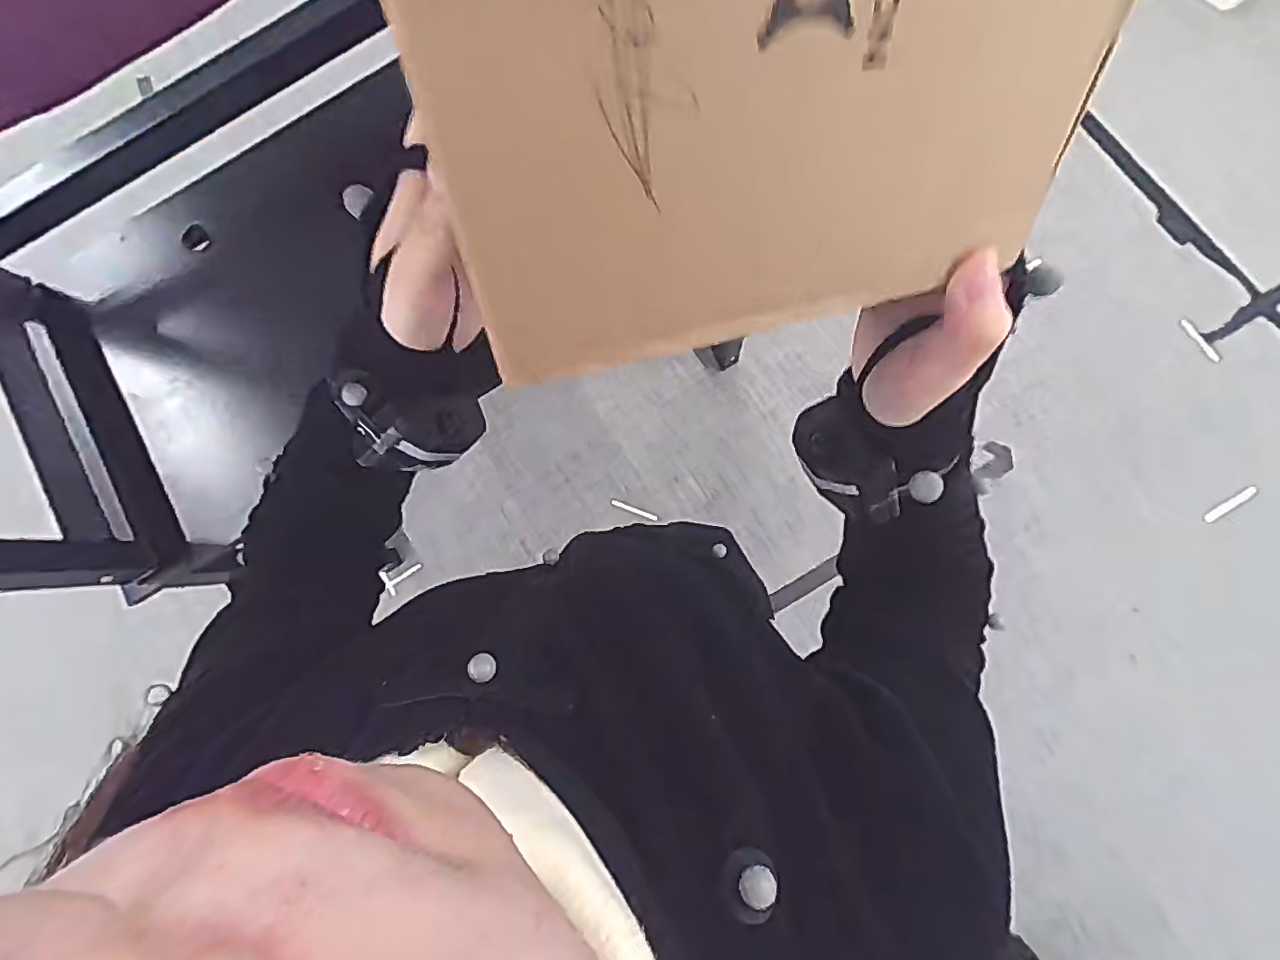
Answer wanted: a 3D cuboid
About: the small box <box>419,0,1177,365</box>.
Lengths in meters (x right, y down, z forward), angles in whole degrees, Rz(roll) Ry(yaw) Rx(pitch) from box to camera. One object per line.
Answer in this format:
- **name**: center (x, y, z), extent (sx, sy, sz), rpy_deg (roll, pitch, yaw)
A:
- **small box**: center (0.023, -0.162, 0.154), extent (0.179, 0.168, 0.176), rpy_deg (-14, 48, -9)
